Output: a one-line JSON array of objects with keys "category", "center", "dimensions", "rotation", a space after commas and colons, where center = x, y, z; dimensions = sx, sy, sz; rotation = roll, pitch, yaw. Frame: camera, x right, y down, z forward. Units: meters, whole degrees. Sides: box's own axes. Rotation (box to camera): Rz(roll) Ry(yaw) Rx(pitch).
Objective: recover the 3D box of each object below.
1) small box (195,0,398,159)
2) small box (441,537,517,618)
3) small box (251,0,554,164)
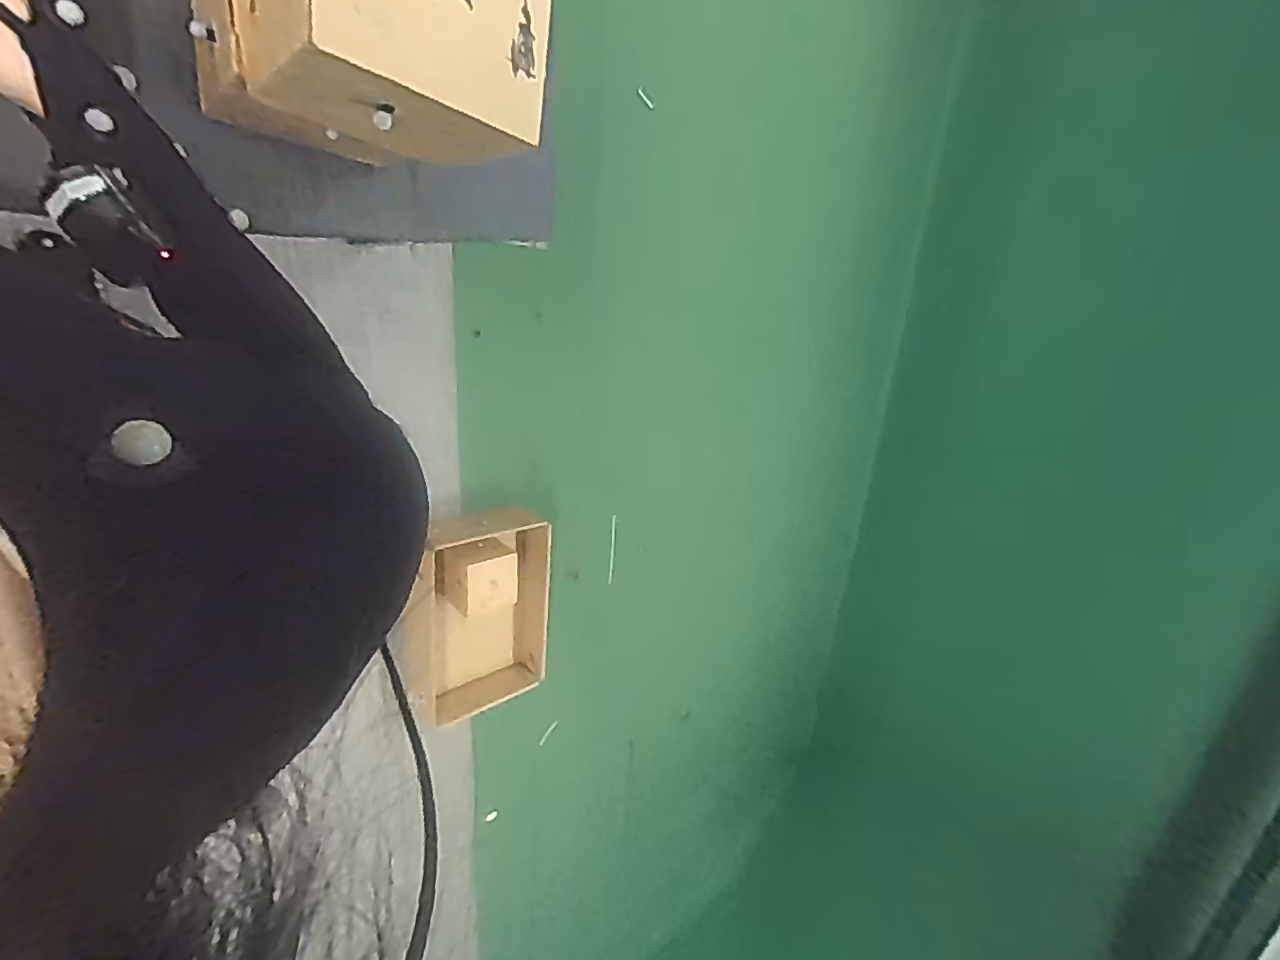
[{"category": "small box", "center": [-0.309, -0.428, 0.520], "dimensions": [0.179, 0.176, 0.168], "rotation": [-9, 113, -45]}, {"category": "small box", "center": [-0.492, 0.285, 1.645], "dimensions": [0.168, 0.176, 0.179], "rotation": [-11, 115, -42]}, {"category": "small box", "center": [-0.188, -0.370, 0.424], "dimensions": [0.179, 0.176, 0.168], "rotation": [-5, 109, -45]}]
